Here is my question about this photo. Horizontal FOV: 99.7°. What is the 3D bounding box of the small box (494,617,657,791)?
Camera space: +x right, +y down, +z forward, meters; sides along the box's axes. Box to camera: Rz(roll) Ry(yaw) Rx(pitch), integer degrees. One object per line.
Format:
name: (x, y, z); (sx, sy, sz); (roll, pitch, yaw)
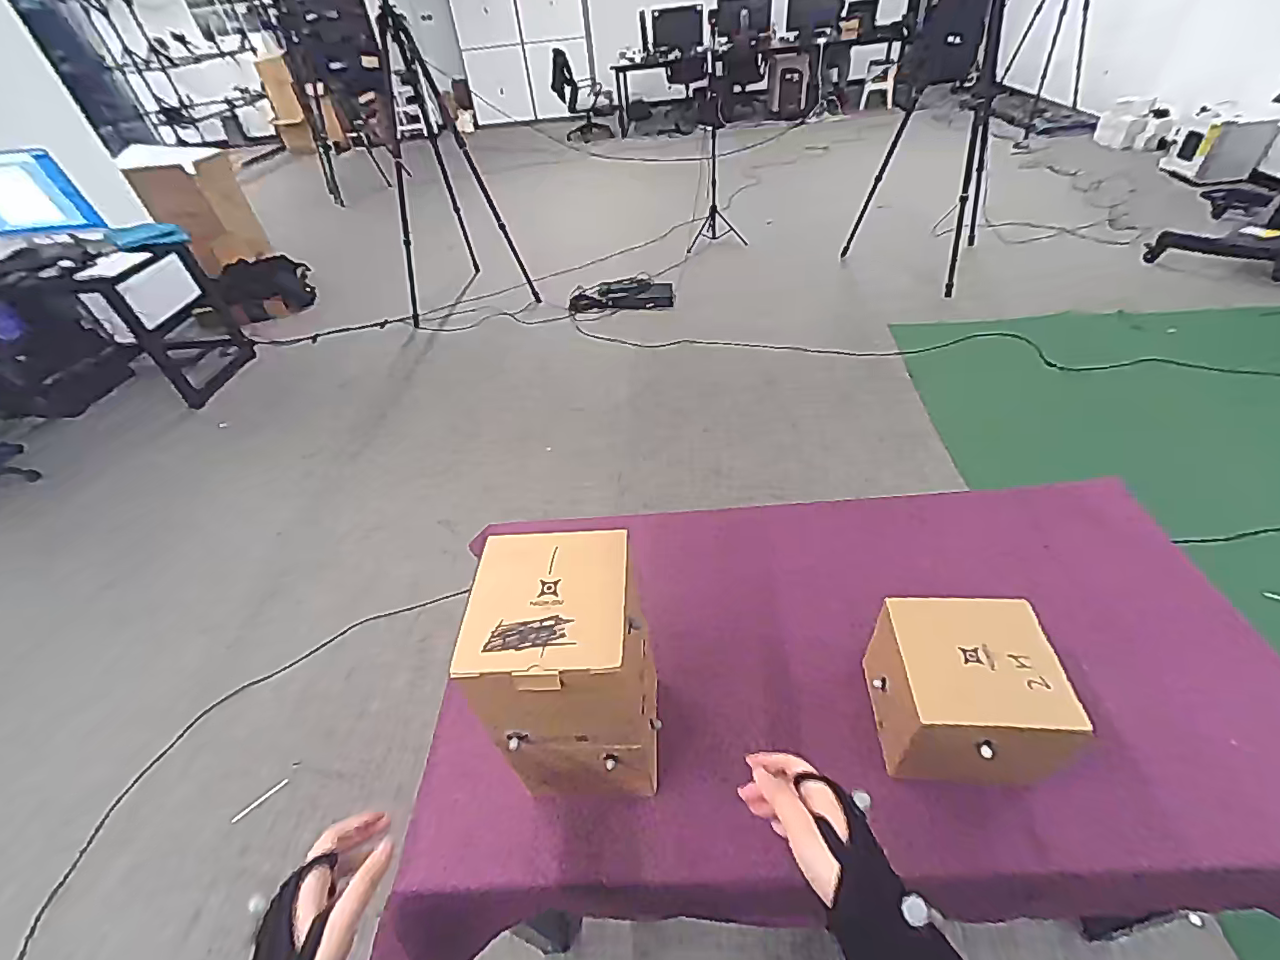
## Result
small box: (-0.073, 0.302, 0.727); (0.179, 0.176, 0.168); (-3, 43, 5)

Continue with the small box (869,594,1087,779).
small box: (0.403, 0.263, 0.689); (0.179, 0.176, 0.168); (-1, 44, 9)

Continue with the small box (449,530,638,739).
small box: (-0.092, 0.179, 0.619); (0.168, 0.176, 0.179); (-3, 41, 4)
